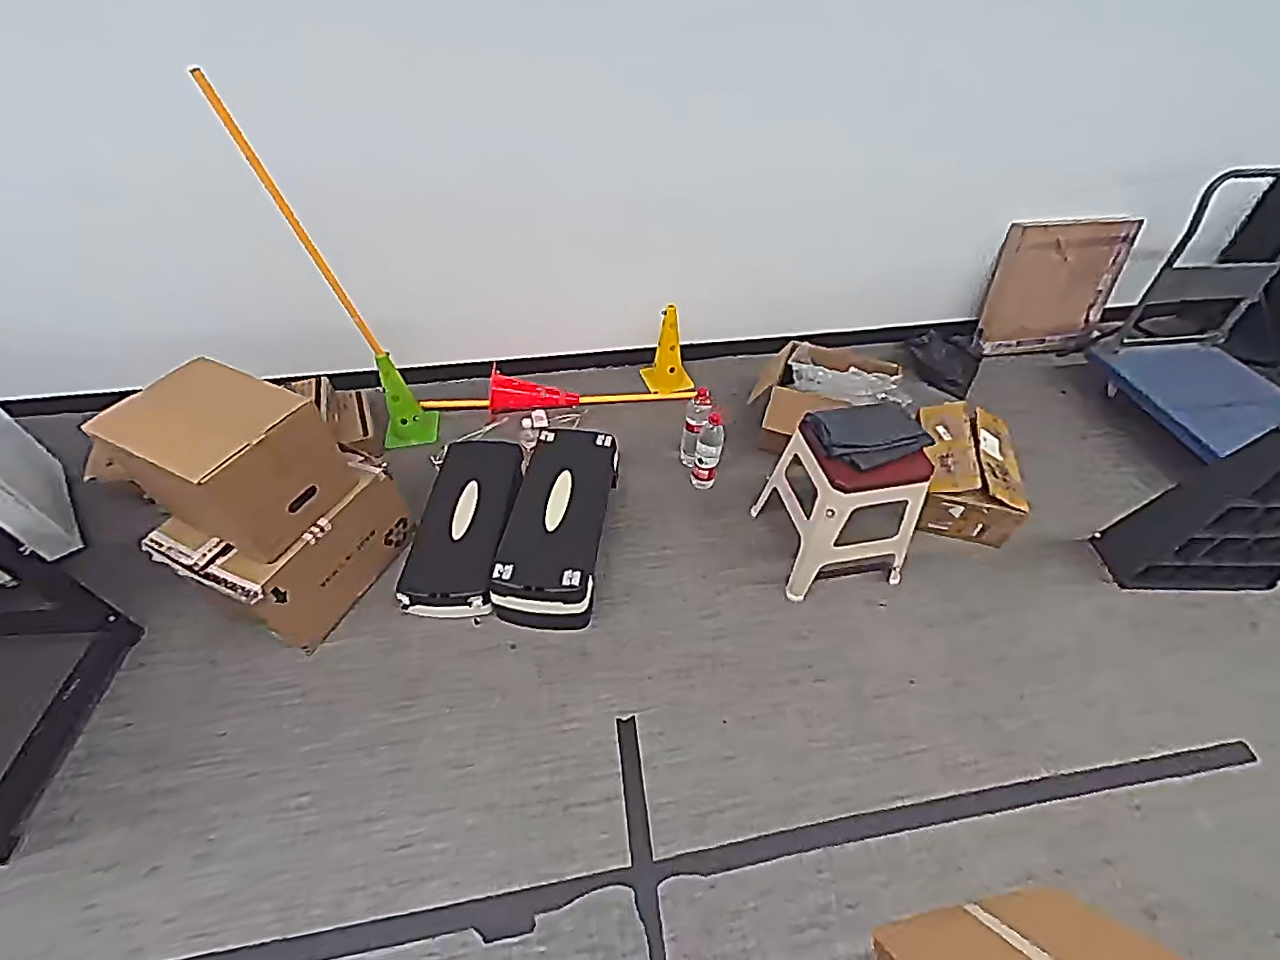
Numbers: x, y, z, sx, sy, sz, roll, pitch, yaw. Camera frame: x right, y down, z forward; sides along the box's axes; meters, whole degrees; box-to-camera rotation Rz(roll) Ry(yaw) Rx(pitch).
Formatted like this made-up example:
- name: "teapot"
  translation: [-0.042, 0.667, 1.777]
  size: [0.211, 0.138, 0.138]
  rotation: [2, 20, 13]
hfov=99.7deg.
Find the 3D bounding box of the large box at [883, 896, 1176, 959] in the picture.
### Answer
- name: "large box"
  translation: [0.540, 0.747, 0.586]
  size: [0.320, 0.408, 0.320]
  rotation: [-6, 76, -7]
